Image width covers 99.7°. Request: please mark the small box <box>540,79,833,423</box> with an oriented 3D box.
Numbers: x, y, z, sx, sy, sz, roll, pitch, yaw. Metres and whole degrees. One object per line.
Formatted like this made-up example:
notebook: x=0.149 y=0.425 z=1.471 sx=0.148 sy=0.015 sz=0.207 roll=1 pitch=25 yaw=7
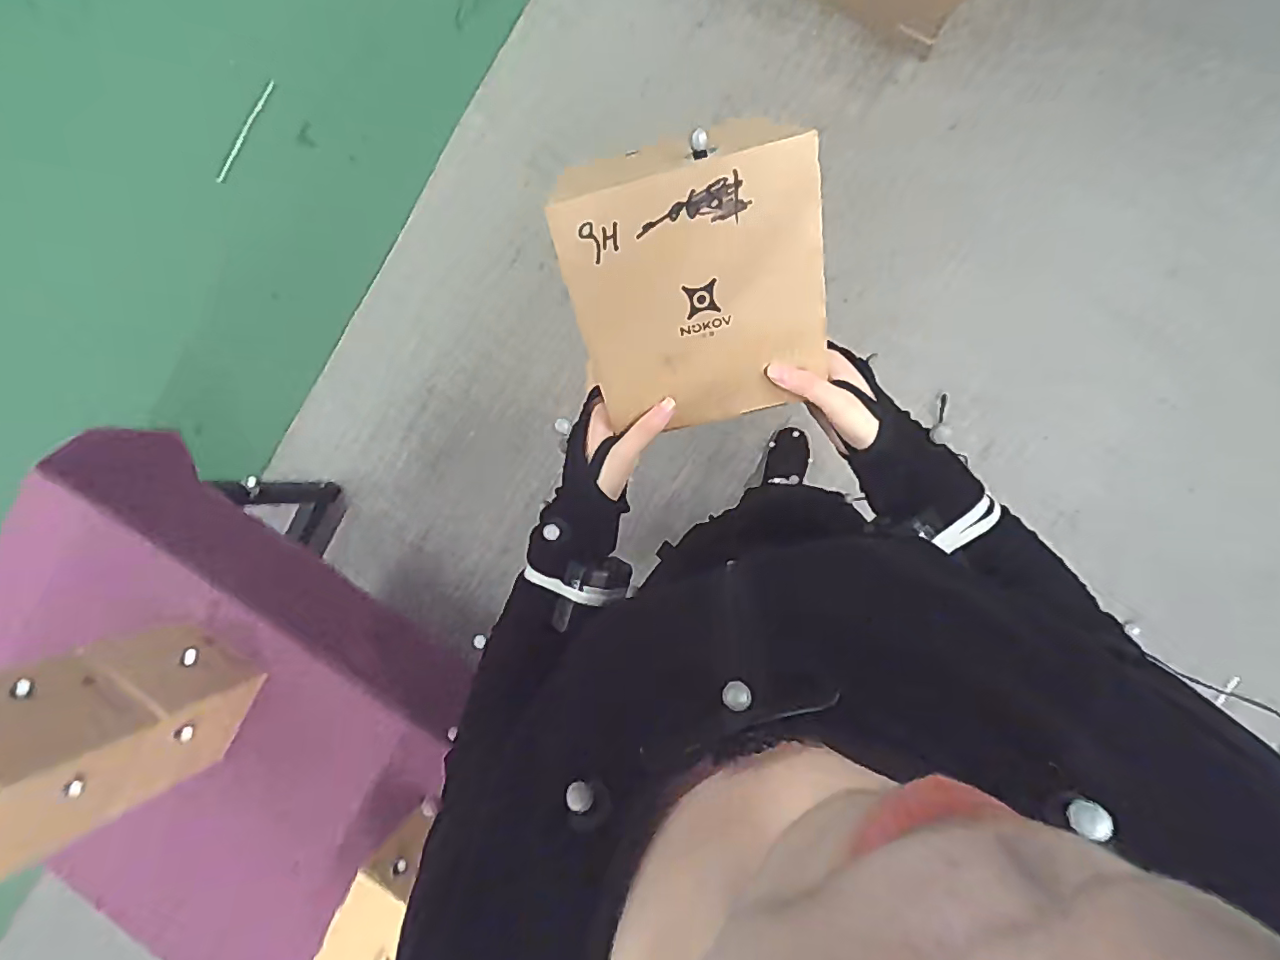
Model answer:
small box: x=0.038 y=-0.174 z=0.410 sx=0.168 sy=0.176 sz=0.179 roll=-13 pitch=129 yaw=7
